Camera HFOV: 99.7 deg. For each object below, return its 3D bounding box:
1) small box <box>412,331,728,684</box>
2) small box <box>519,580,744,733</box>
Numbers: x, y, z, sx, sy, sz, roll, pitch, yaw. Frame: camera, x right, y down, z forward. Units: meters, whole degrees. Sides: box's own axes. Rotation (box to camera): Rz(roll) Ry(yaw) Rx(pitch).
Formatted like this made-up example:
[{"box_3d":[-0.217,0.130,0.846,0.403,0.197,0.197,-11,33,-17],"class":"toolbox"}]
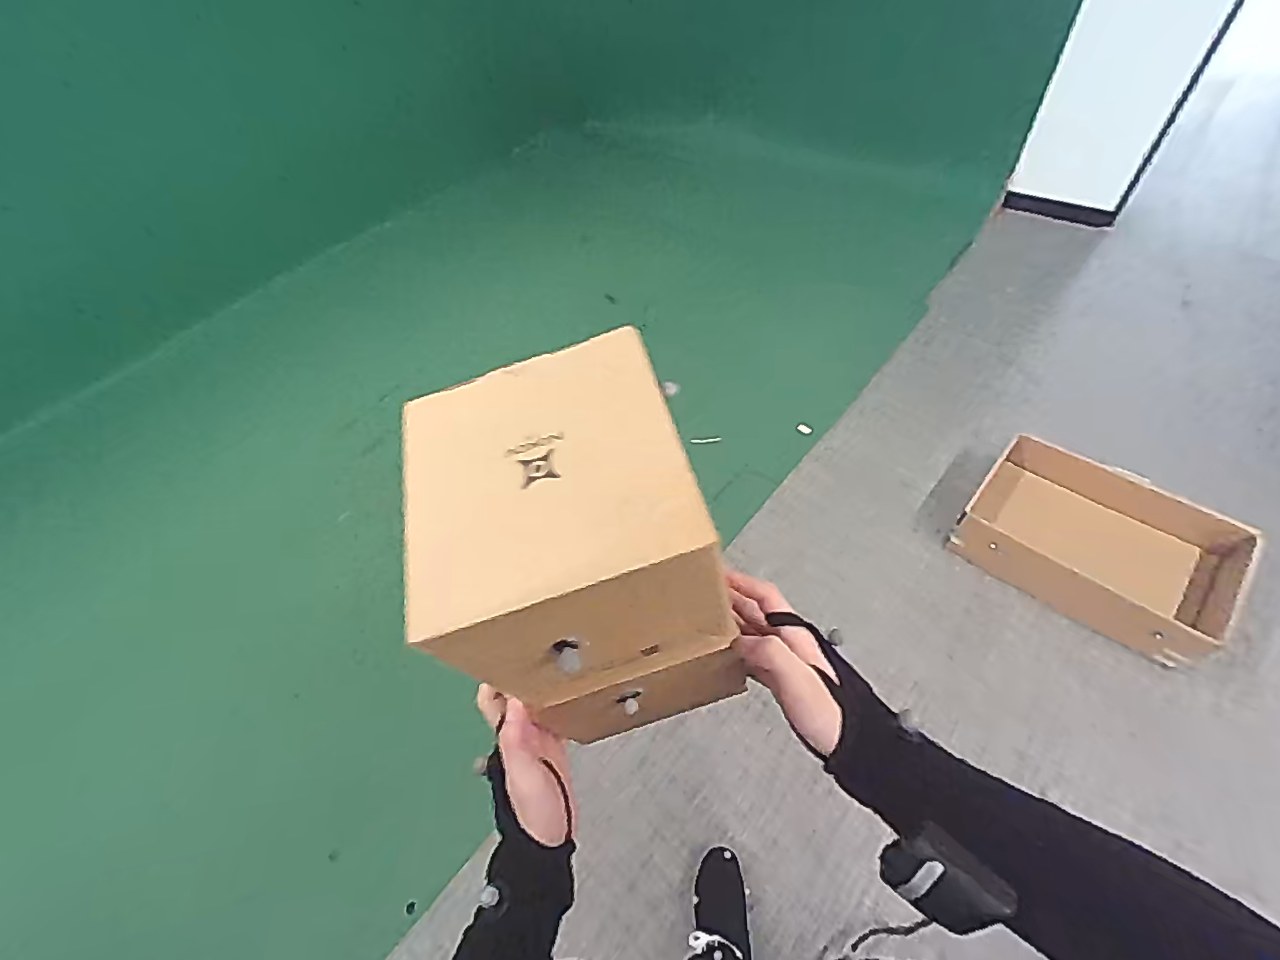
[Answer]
[{"box_3d":[-0.042,0.033,0.389,0.168,0.176,0.179,-18,55,2],"class":"small box"},{"box_3d":[-0.009,0.126,0.517,0.179,0.176,0.168,-17,55,1],"class":"small box"}]
